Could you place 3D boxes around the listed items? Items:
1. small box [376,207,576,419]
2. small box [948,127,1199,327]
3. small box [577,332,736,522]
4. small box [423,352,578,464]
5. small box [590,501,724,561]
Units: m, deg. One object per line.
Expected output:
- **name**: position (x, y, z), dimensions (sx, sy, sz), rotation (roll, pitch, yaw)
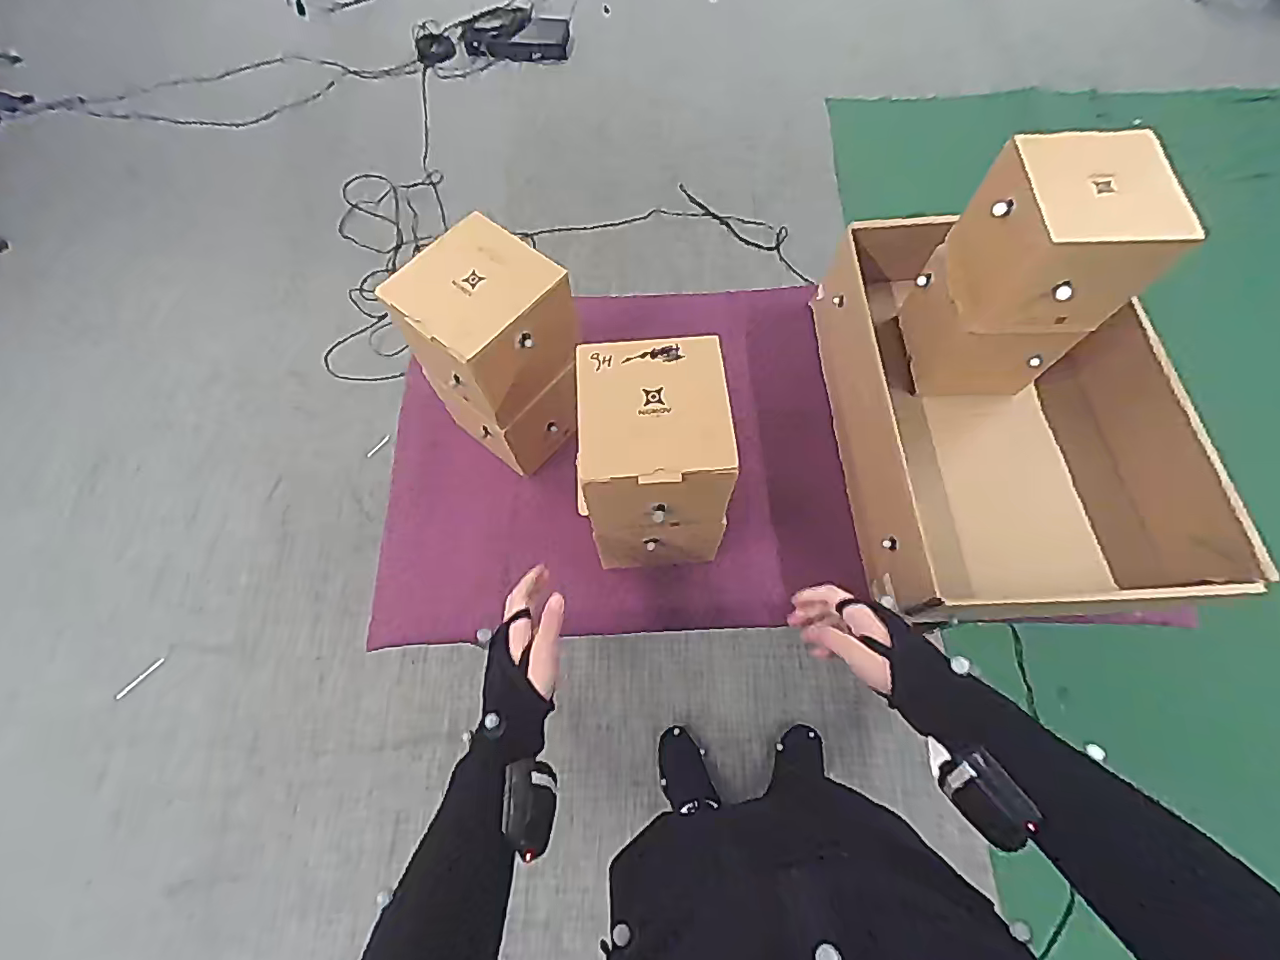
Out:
- **small box**: position (-0.203, -0.214, 0.729), dimensions (0.168, 0.176, 0.179), rotation (38, 73, 14)
- **small box**: position (0.532, -0.314, 0.697), dimensions (0.168, 0.176, 0.179), rotation (-1, 68, 2)
- **small box**: position (0.016, -0.053, 0.655), dimensions (0.168, 0.176, 0.179), rotation (-4, 67, -1)
- **small box**: position (-0.206, -0.147, 0.878), dimensions (0.179, 0.176, 0.168), rotation (37, 72, 15)
- **small box**: position (0.020, 0.017, 0.803), dimensions (0.179, 0.176, 0.168), rotation (-5, 66, -1)
